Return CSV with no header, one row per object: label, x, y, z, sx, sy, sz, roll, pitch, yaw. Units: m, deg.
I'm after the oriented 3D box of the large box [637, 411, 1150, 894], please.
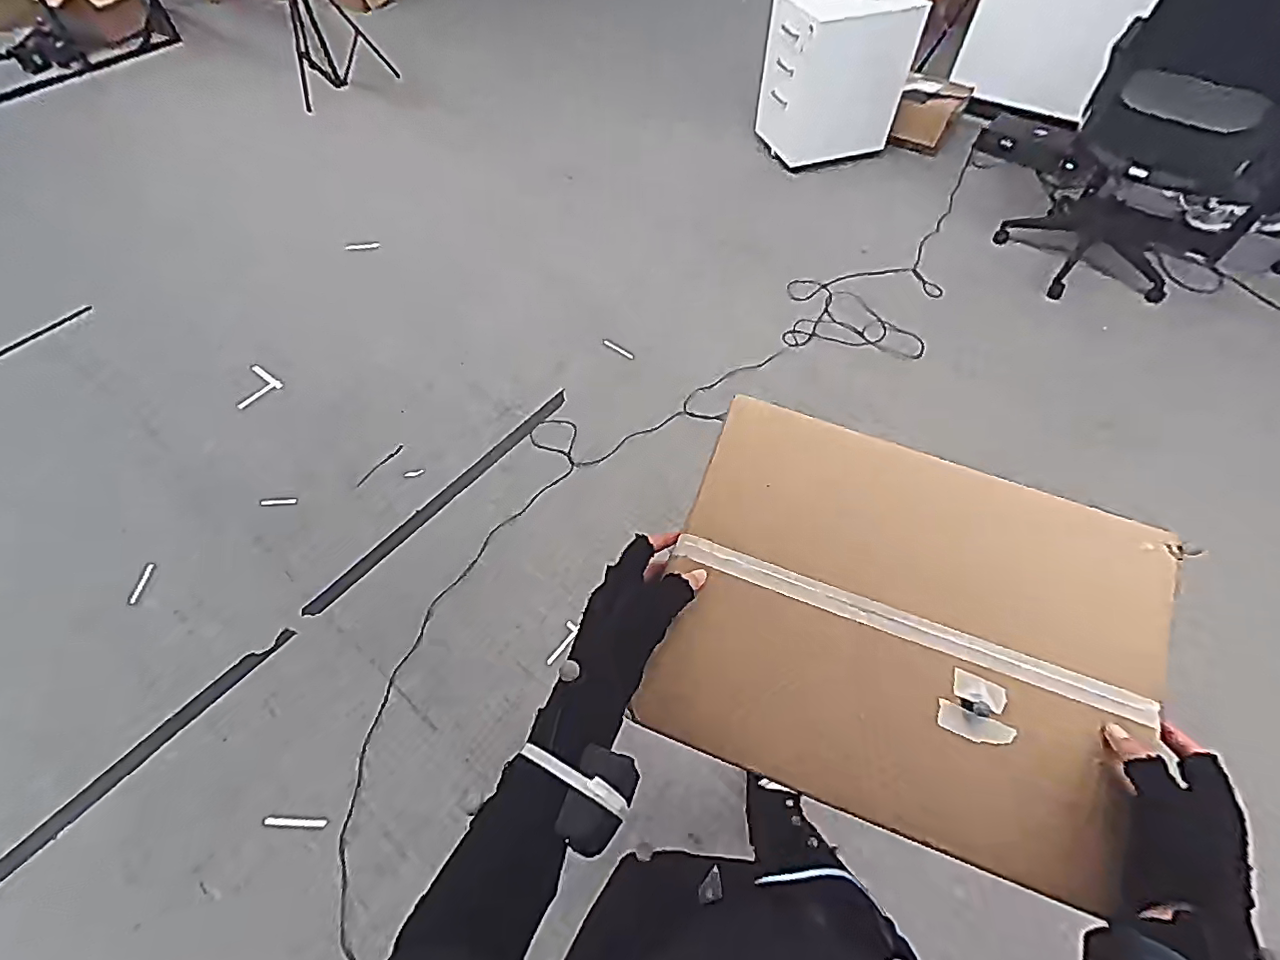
large box,0.236,0.167,0.627,0.408,0.320,0.320,19,78,7
